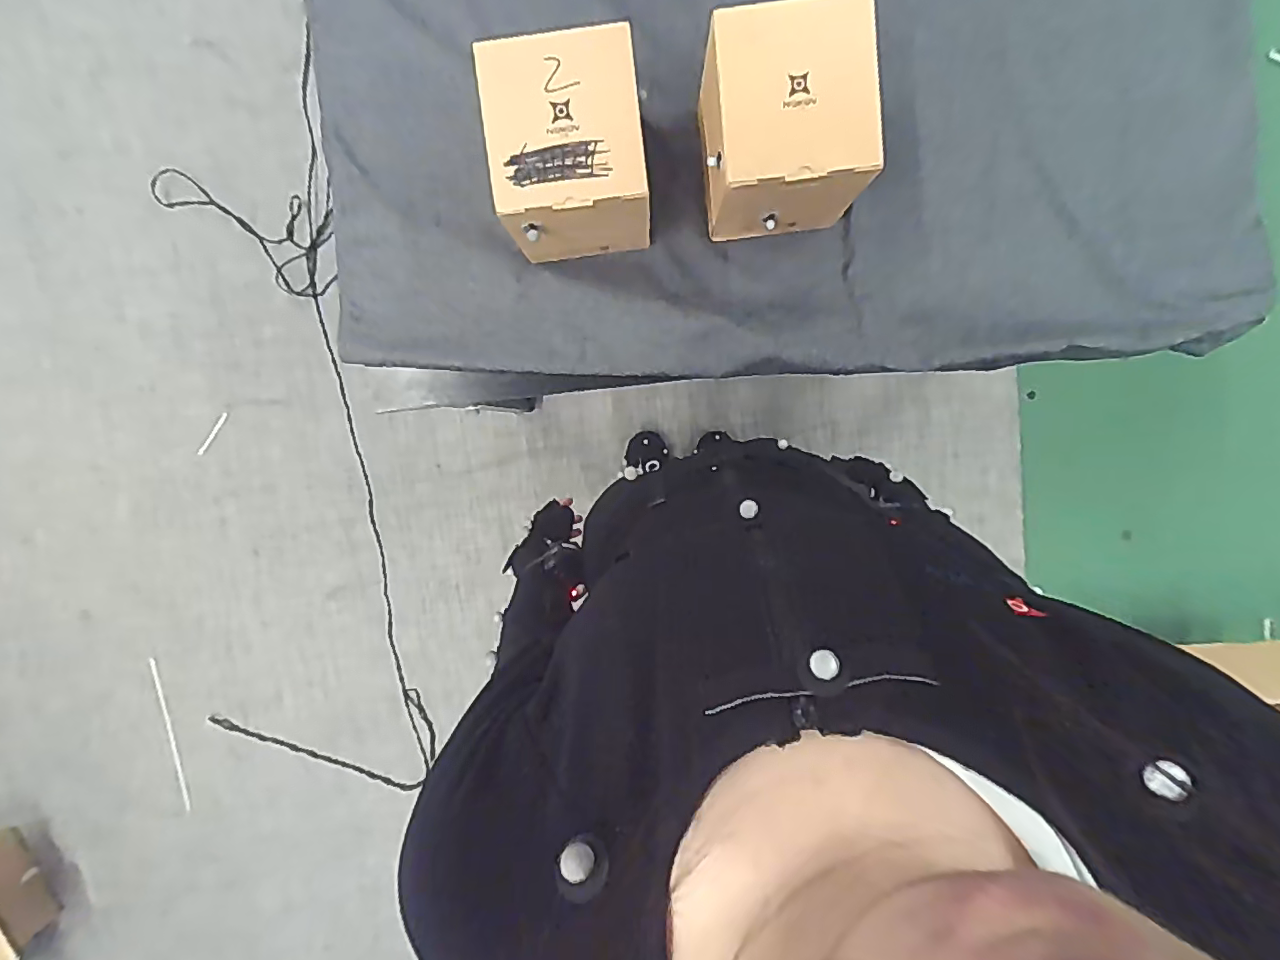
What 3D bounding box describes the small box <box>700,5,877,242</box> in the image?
[{"bbox_3d":[0.167,-0.412,0.654,0.168,0.176,0.179,-6,96,2],"label":"small box"}]
